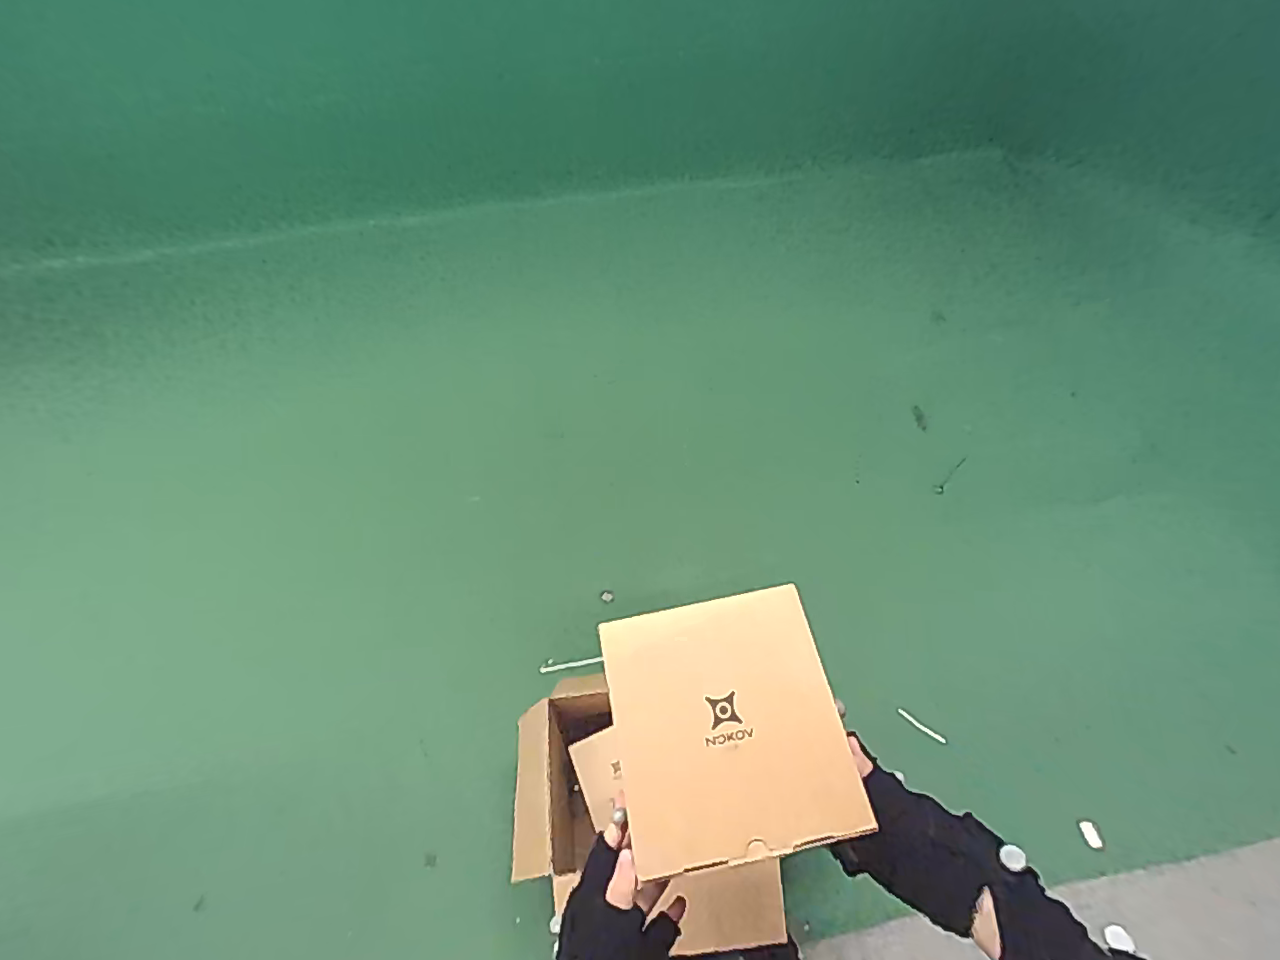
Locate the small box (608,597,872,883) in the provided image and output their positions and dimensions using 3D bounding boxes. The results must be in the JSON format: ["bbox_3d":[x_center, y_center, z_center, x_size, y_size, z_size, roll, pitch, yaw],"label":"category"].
[{"bbox_3d":[0.069,0.224,0.478,0.168,0.176,0.179,-11,61,-3],"label":"small box"}]
